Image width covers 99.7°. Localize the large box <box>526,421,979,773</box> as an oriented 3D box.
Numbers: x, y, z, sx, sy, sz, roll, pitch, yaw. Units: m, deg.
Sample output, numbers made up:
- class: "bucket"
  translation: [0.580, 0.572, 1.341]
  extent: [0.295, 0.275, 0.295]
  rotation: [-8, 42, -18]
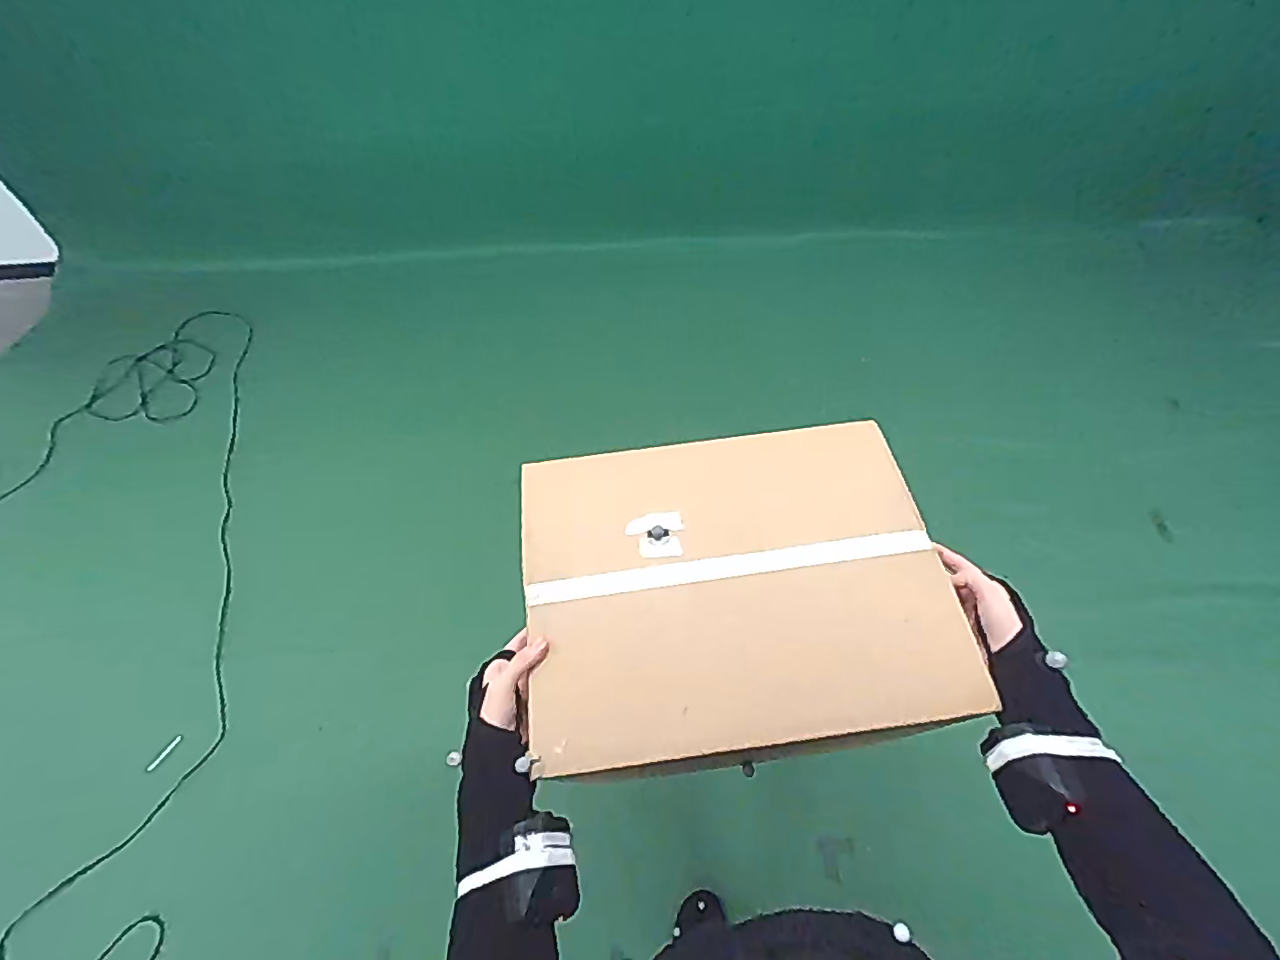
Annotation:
- class: "large box"
  translation: [0.097, 0.164, 0.676]
  extent: [0.408, 0.320, 0.320]
  rotation: [-8, 59, -1]
